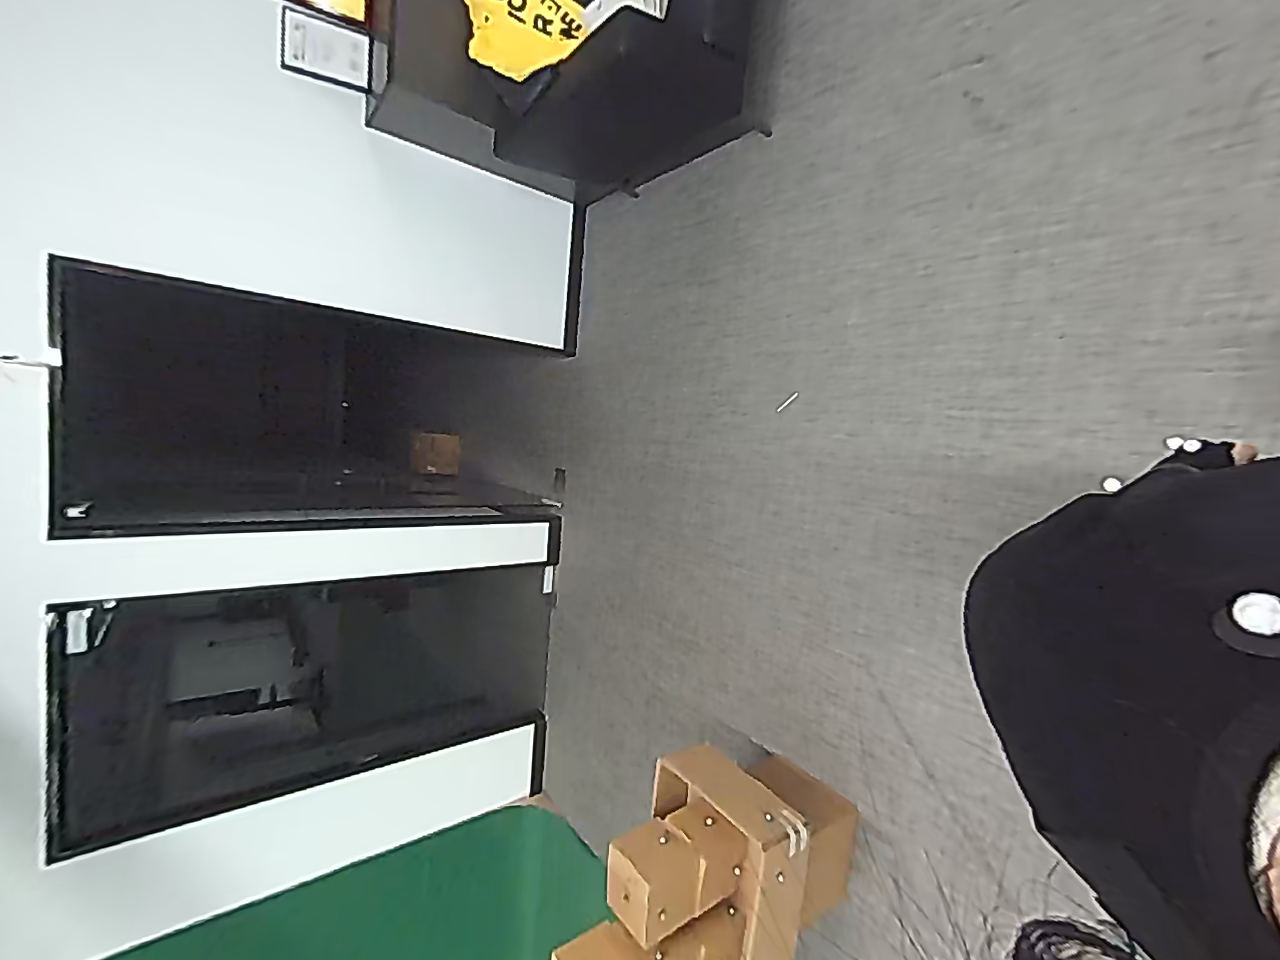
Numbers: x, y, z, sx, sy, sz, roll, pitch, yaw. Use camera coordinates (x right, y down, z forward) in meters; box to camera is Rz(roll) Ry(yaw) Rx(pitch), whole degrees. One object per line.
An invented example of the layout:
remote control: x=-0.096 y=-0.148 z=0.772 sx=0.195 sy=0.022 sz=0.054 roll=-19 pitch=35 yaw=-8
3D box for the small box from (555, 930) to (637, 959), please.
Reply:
small box: x=-0.097 y=1.233 z=1.292 sx=0.179 sy=0.176 sz=0.168 roll=11 pitch=96 yaw=52
